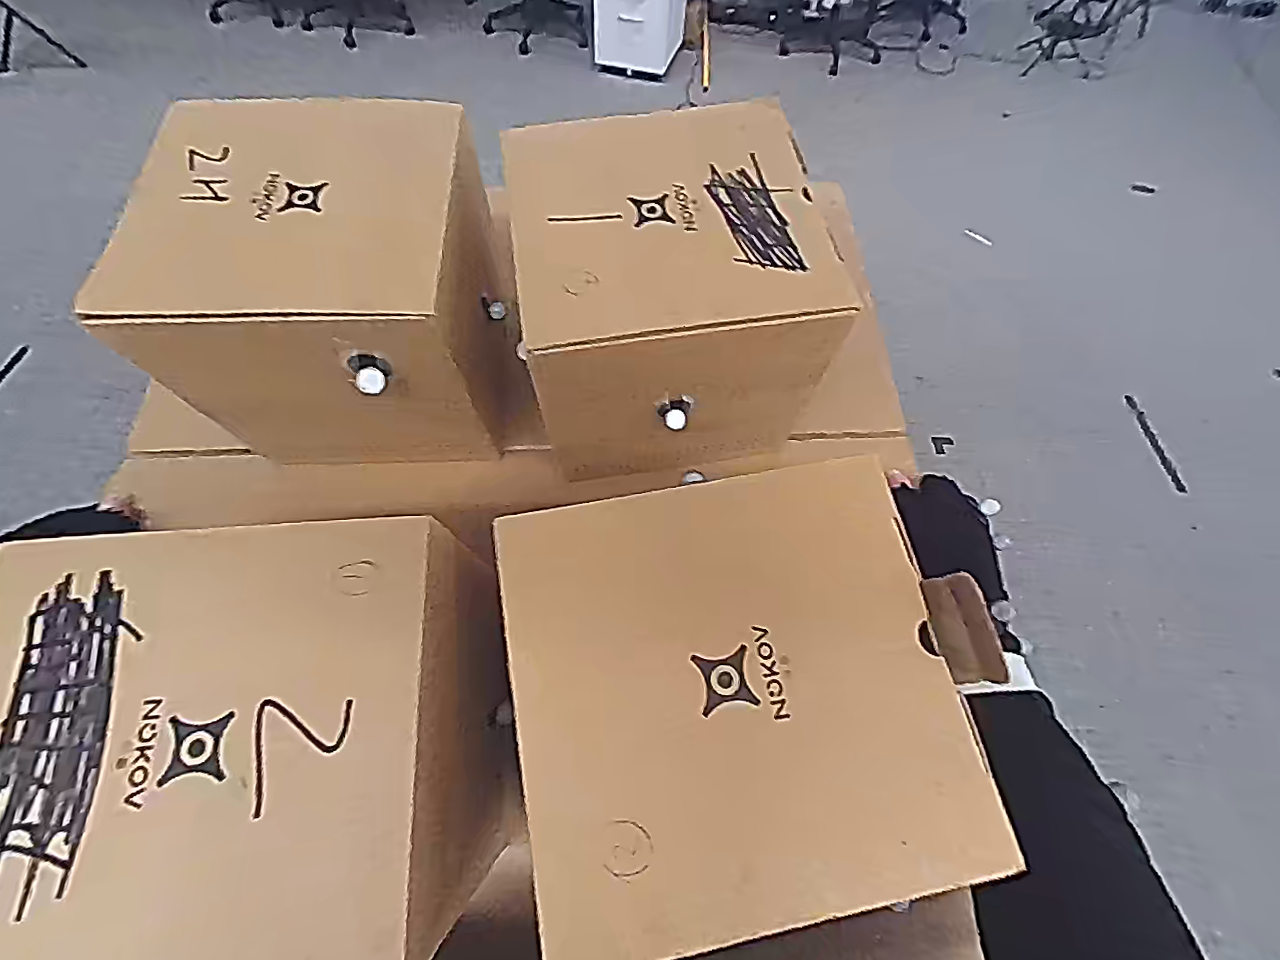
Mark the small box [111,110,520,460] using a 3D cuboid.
[{"bbox_3d":[-0.188,-0.123,0.384,0.179,0.176,0.168,0,66,-1],"label":"small box"}]
